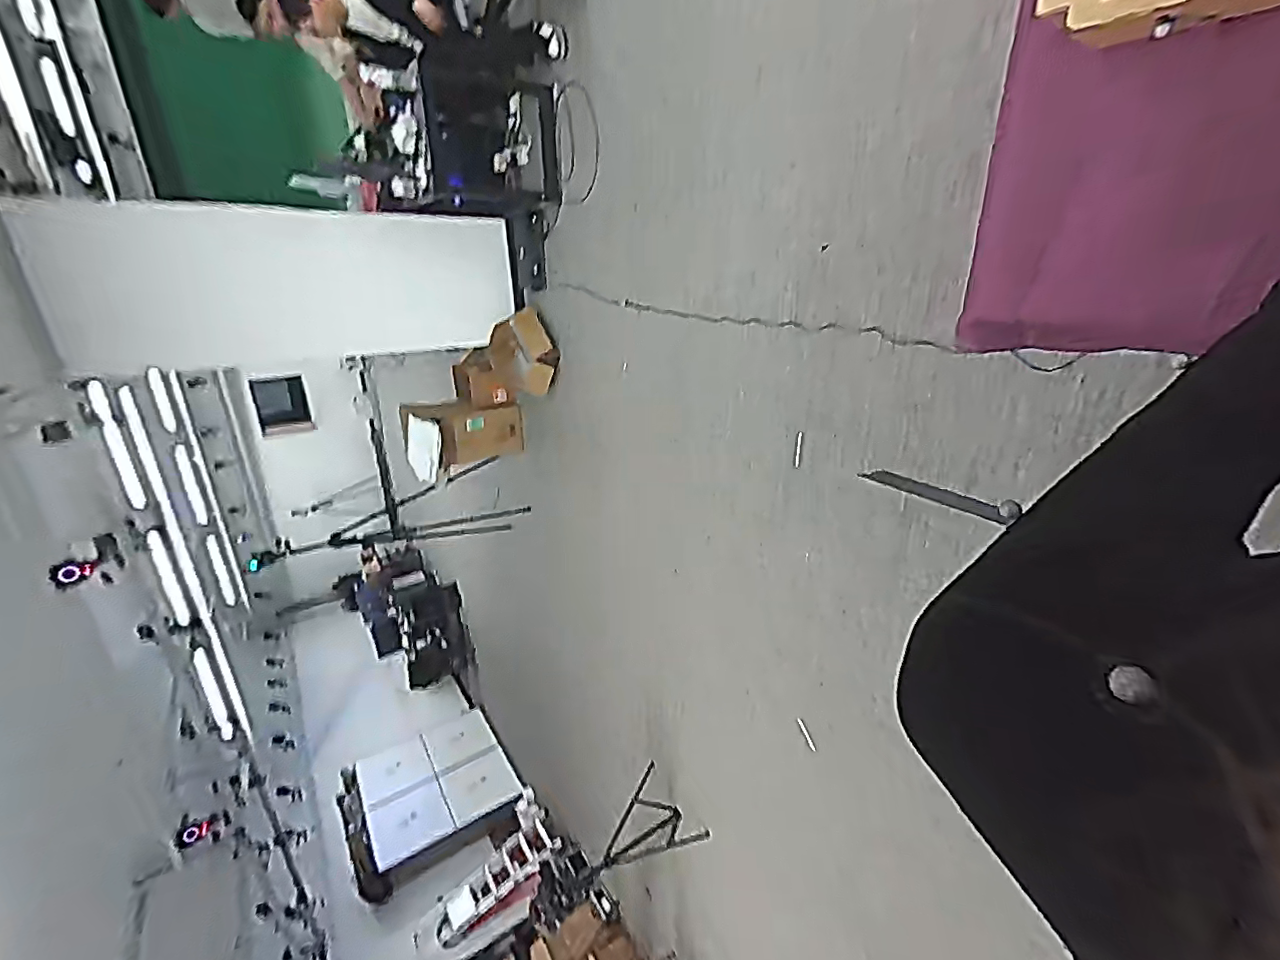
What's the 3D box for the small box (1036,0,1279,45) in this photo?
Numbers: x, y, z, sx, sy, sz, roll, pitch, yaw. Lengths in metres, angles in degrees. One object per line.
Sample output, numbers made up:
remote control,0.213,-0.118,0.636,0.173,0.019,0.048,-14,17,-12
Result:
small box,0.527,-0.556,0.515,0.168,0.176,0.179,30,128,49
